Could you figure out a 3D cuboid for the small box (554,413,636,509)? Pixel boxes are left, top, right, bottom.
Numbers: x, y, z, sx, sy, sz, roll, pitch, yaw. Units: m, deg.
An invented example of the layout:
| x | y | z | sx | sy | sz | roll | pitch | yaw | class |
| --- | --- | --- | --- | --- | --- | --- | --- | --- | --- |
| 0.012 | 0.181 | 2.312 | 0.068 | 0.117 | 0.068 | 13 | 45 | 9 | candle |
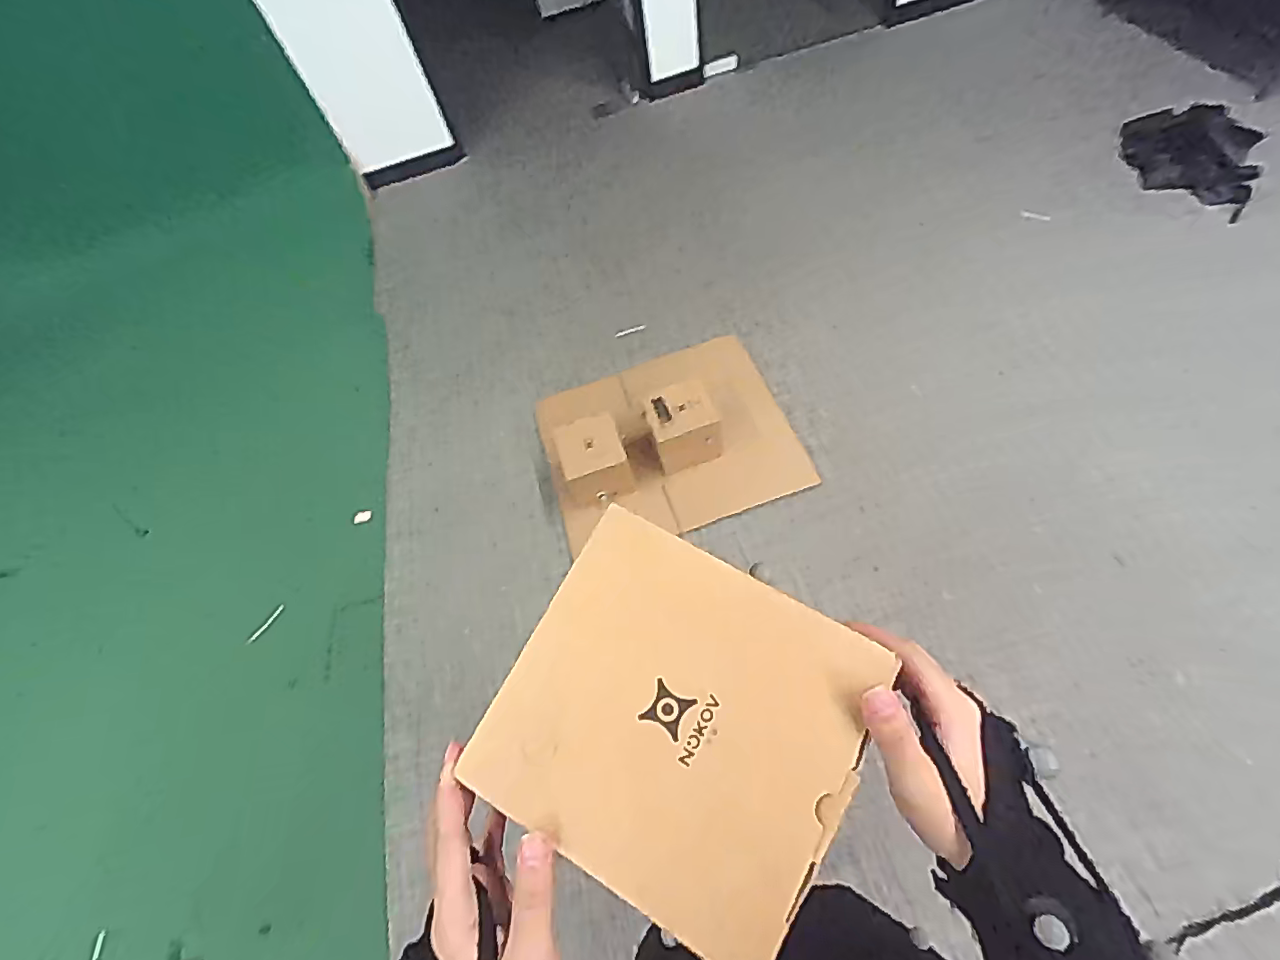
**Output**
| x | y | z | sx | sy | sz | roll | pitch | yaw | class |
| --- | --- | --- | --- | --- | --- | --- | --- | --- | --- |
| -0.121 | -0.049 | 1.483 | 0.168 | 0.176 | 0.179 | -19 | 59 | 0 | small box |
